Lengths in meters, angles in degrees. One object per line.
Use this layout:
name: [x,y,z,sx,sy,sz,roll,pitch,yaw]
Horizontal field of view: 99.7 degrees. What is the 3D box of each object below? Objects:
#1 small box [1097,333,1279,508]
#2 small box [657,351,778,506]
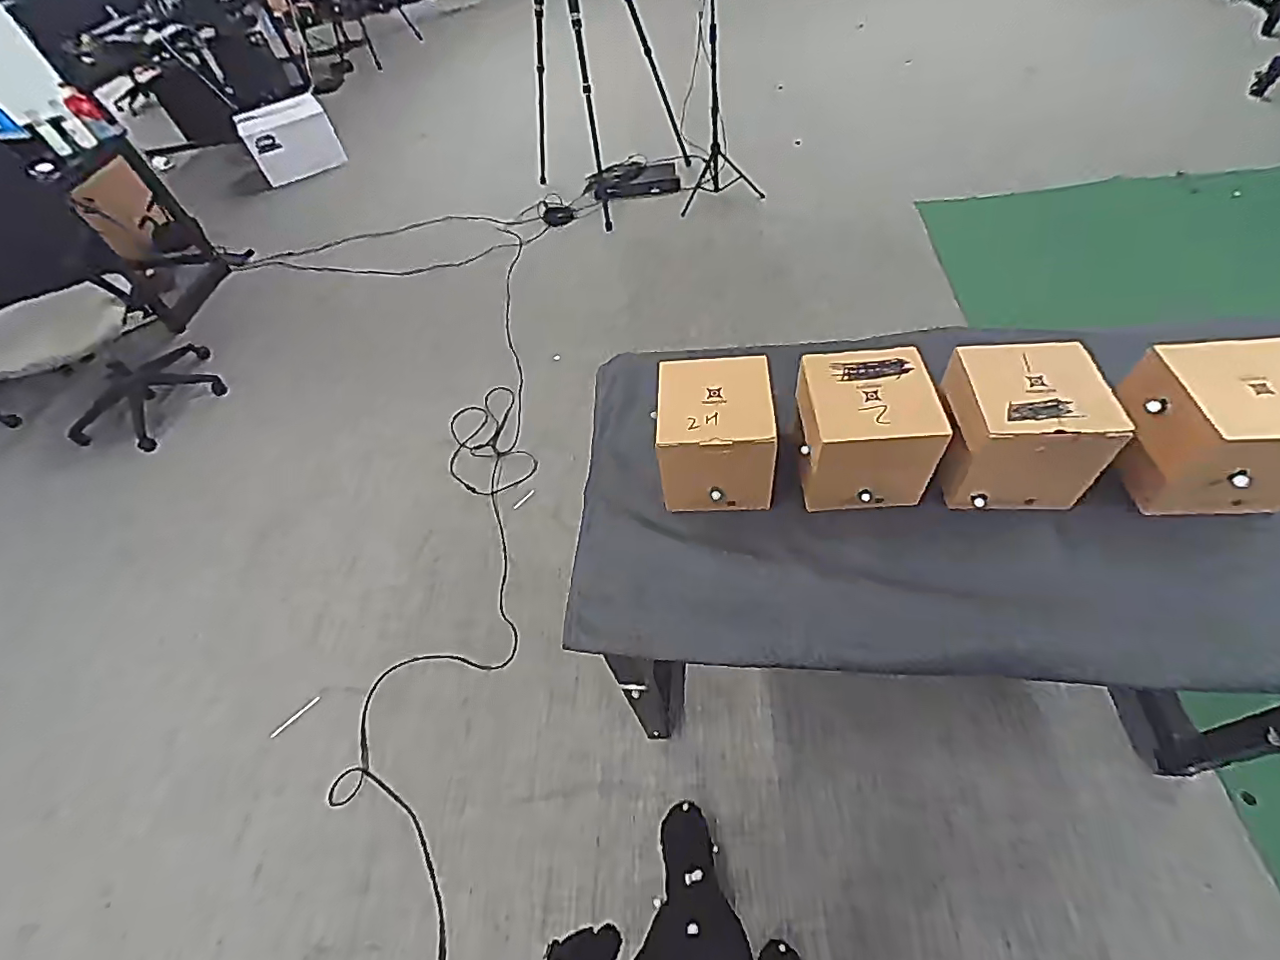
small box: [0.781,-0.073,0.732,0.168,0.176,0.179,-2,53,8]
small box: [0.118,-0.077,0.844,0.168,0.176,0.179,-2,53,8]
